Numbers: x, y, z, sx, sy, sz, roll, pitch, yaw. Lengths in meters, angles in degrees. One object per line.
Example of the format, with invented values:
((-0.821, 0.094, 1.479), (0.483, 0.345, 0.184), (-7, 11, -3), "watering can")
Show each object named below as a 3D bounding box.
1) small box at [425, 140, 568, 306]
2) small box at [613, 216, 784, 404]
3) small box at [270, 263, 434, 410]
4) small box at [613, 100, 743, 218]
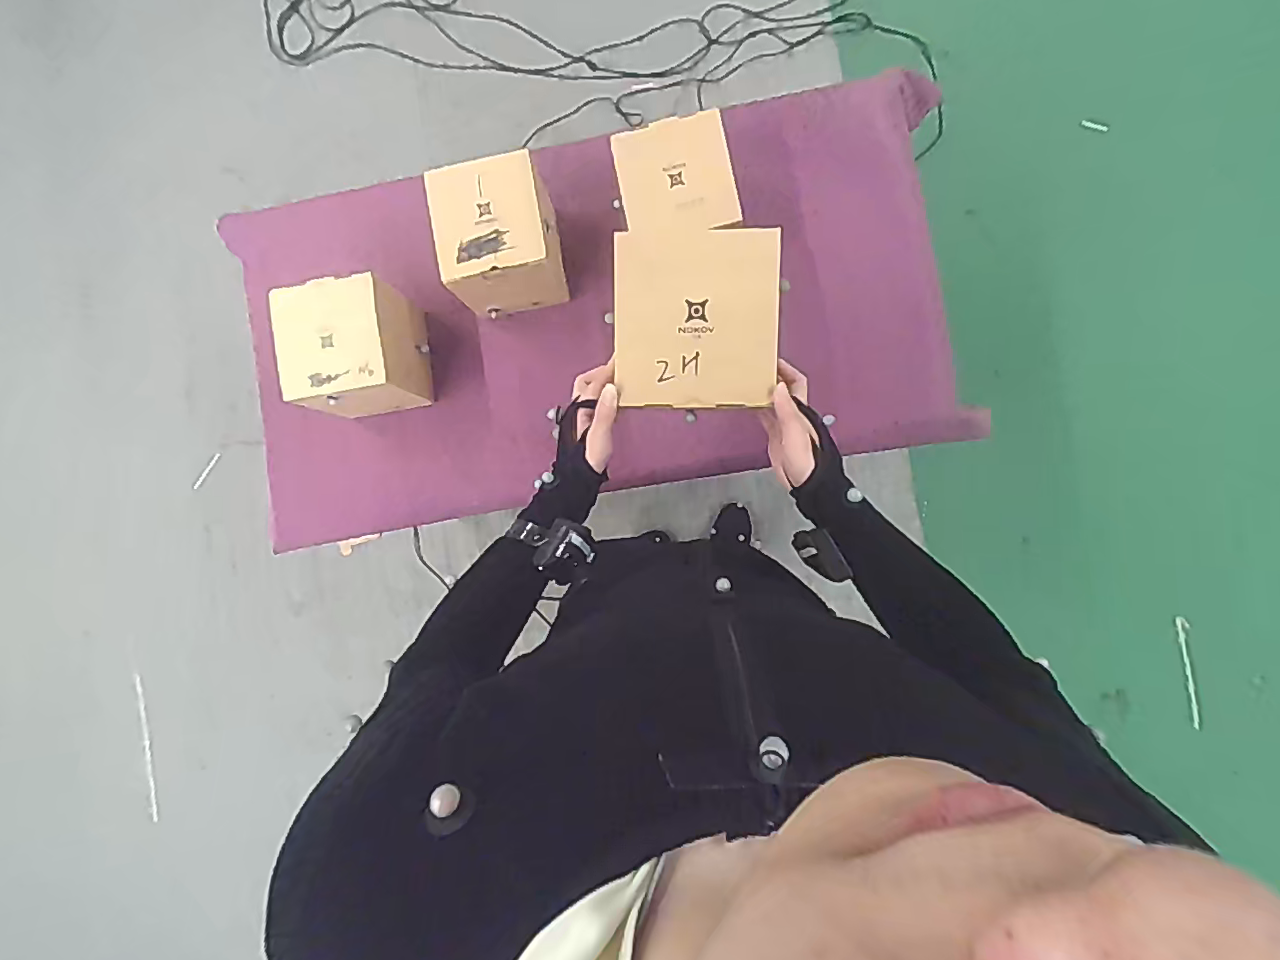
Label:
((-0.222, -0.399, 0.875), (0.168, 0.176, 0.179), (-10, 86, 4), "small box")
((0.062, -0.179, 0.614), (0.168, 0.176, 0.179), (2, 97, 5), "small box")
((-0.460, -0.224, 0.885), (0.168, 0.176, 0.179), (-9, 87, 5), "small box")
((0.059, -0.446, 0.858), (0.168, 0.176, 0.179), (-11, 88, 5), "small box")
